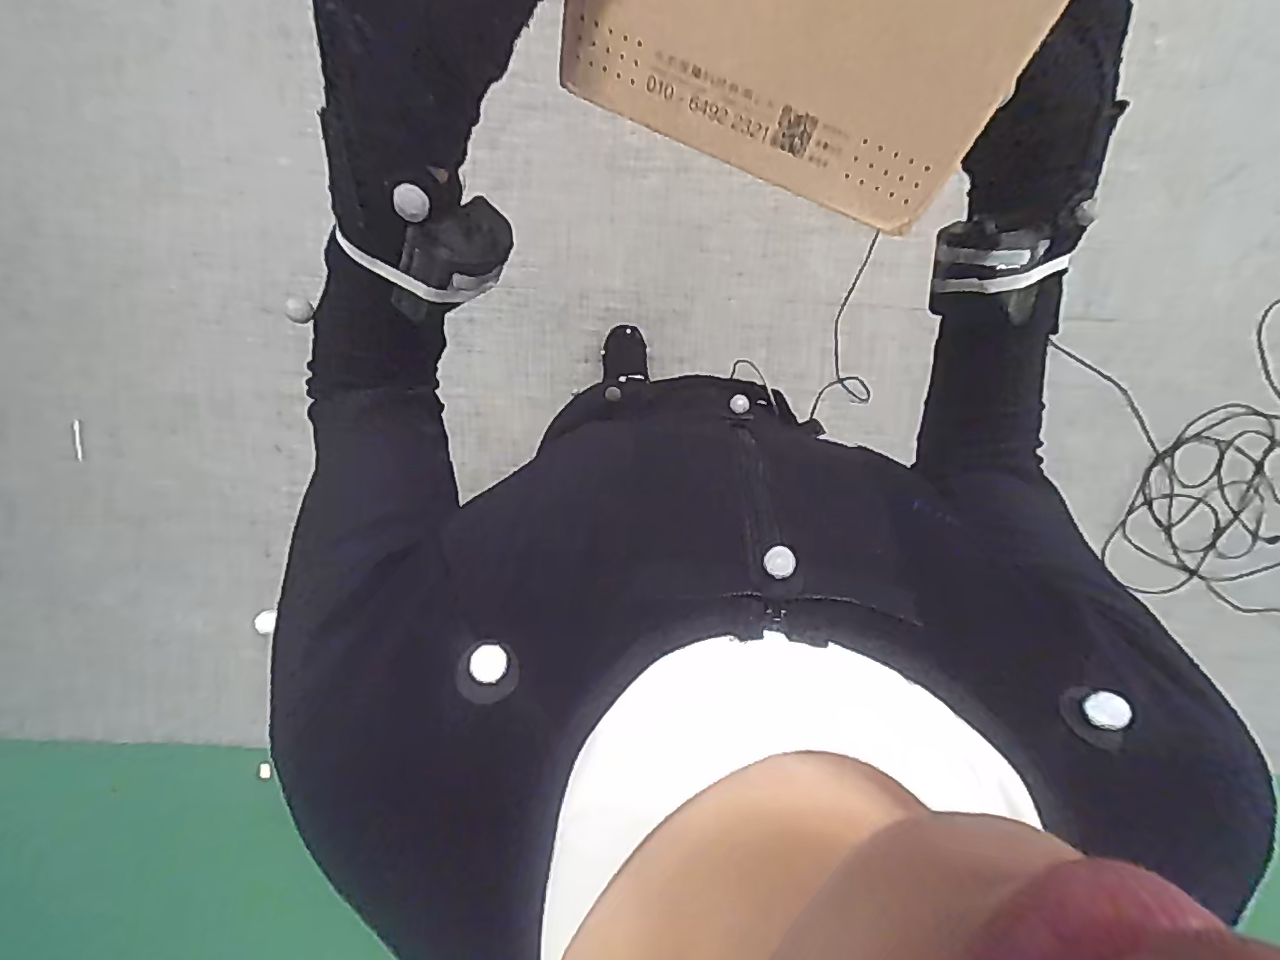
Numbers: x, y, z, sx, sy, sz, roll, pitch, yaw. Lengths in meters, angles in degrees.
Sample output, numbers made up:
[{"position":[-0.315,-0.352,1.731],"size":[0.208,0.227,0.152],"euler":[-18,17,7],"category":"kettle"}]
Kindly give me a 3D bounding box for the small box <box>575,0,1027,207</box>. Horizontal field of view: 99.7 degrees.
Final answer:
[{"position":[0.086,-0.250,0.223],"size":[0.168,0.179,0.176],"euler":[26,142,5],"category":"small box"}]
